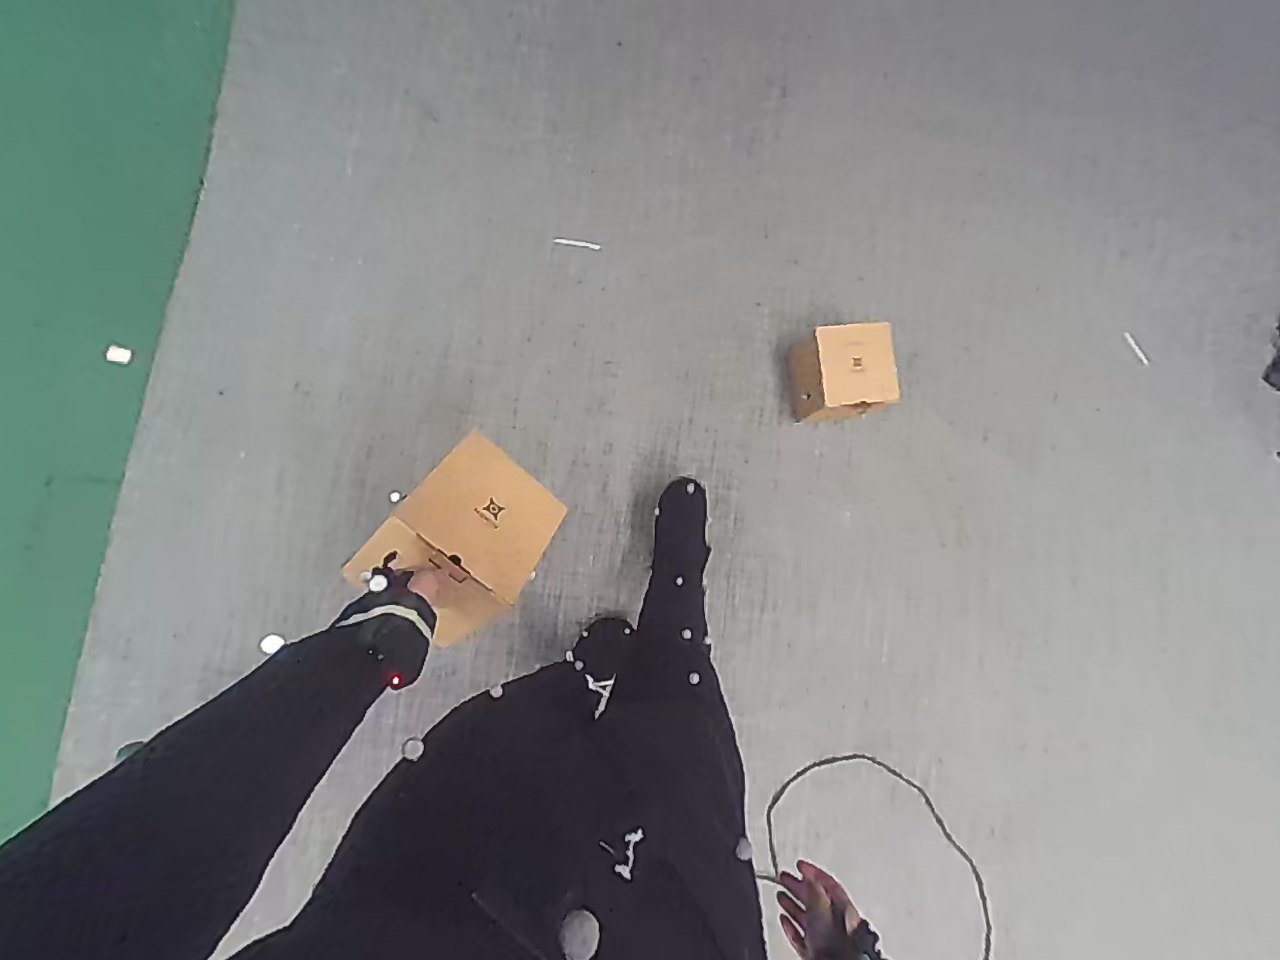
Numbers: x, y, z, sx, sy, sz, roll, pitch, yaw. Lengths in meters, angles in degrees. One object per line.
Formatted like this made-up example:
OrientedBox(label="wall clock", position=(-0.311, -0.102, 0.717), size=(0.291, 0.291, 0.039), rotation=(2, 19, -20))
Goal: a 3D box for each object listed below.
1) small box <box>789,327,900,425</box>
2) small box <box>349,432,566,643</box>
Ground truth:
OrientedBox(label="small box", position=(0.449, -0.223, 1.211), size=(0.168, 0.176, 0.179), rotation=(-5, 83, -6))
OrientedBox(label="small box", position=(-0.231, 0.076, 0.692), size=(0.168, 0.176, 0.179), rotation=(44, 37, -17))
